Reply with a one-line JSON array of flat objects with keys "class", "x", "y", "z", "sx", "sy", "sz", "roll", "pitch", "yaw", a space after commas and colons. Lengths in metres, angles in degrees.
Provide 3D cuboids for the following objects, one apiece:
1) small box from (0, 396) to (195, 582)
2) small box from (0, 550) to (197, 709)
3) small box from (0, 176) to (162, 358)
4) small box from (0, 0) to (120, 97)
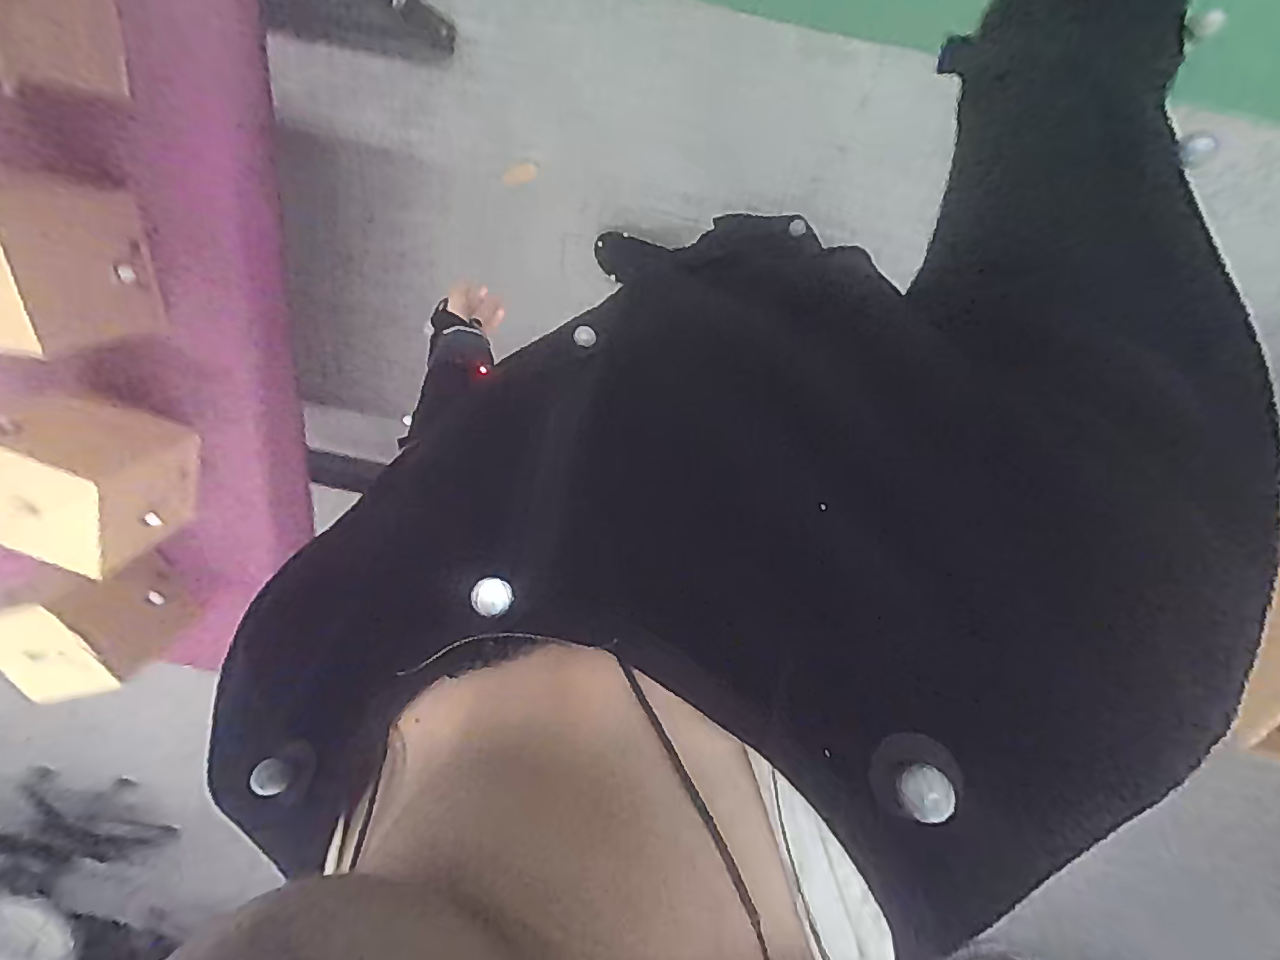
[{"class": "small box", "x": -0.765, "y": 0.004, "z": 0.748, "sx": 0.179, "sy": 0.176, "sz": 0.168, "roll": 23, "pitch": 116, "yaw": -7}, {"class": "small box", "x": -0.880, "y": 0.231, "z": 0.862, "sx": 0.179, "sy": 0.176, "sz": 0.168, "roll": -13, "pitch": 115, "yaw": 9}, {"class": "small box", "x": -0.715, "y": -0.250, "z": 0.617, "sx": 0.179, "sy": 0.176, "sz": 0.168, "roll": 8, "pitch": 117, "yaw": -1}, {"class": "small box", "x": -0.640, "y": -0.482, "z": 0.496, "sx": 0.168, "sy": 0.176, "sz": 0.179, "roll": 13, "pitch": 117, "yaw": -2}]
